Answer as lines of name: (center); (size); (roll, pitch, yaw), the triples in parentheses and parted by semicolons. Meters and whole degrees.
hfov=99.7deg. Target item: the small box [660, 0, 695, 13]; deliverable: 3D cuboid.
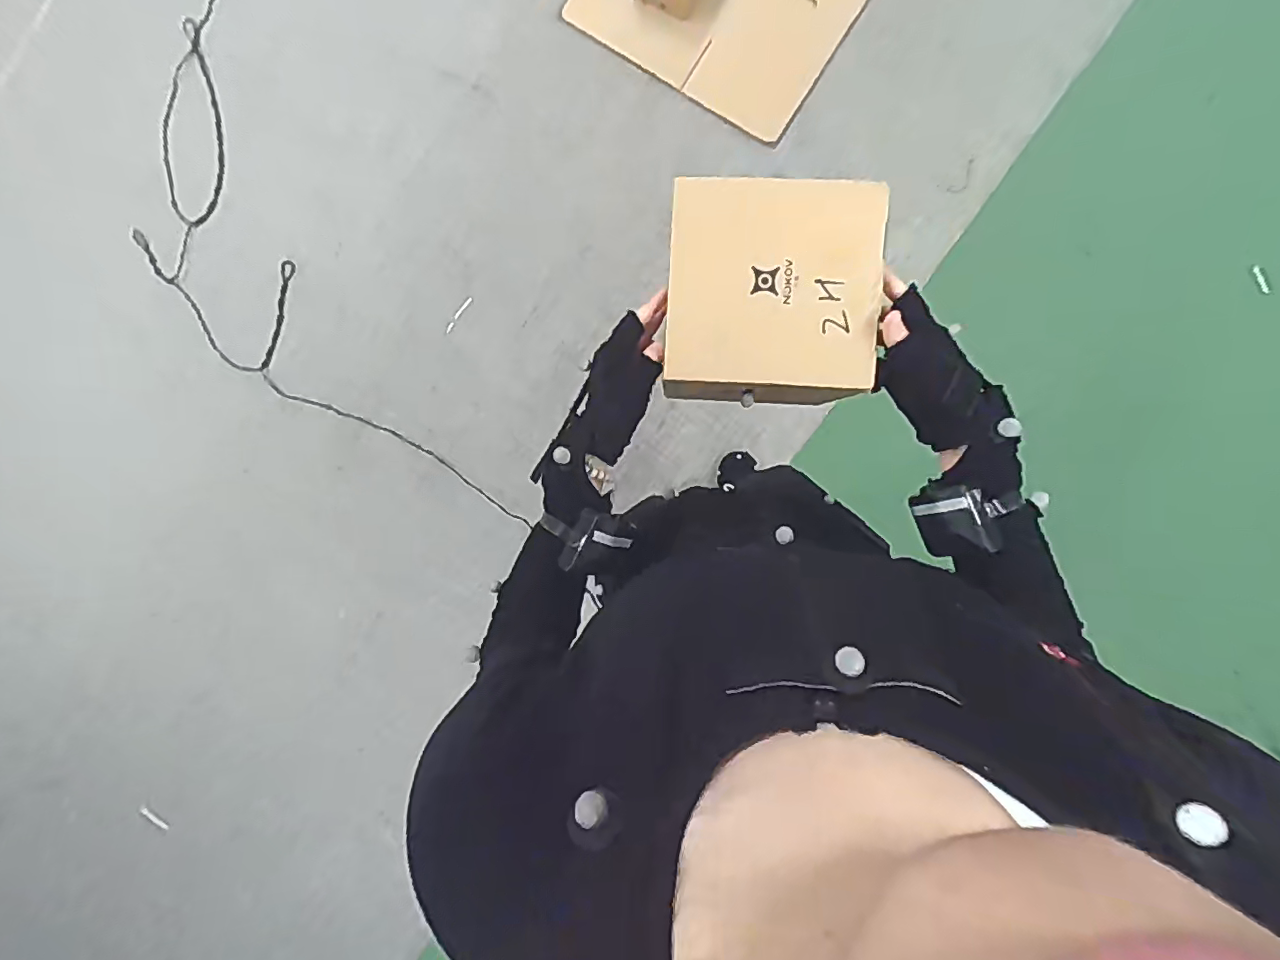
small box: (0.089, -1.351, 1.367); (0.168, 0.176, 0.179); (29, 93, 3)

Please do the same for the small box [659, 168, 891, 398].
small box: (0.112, -0.169, 0.515); (0.179, 0.176, 0.168); (3, 94, 3)
